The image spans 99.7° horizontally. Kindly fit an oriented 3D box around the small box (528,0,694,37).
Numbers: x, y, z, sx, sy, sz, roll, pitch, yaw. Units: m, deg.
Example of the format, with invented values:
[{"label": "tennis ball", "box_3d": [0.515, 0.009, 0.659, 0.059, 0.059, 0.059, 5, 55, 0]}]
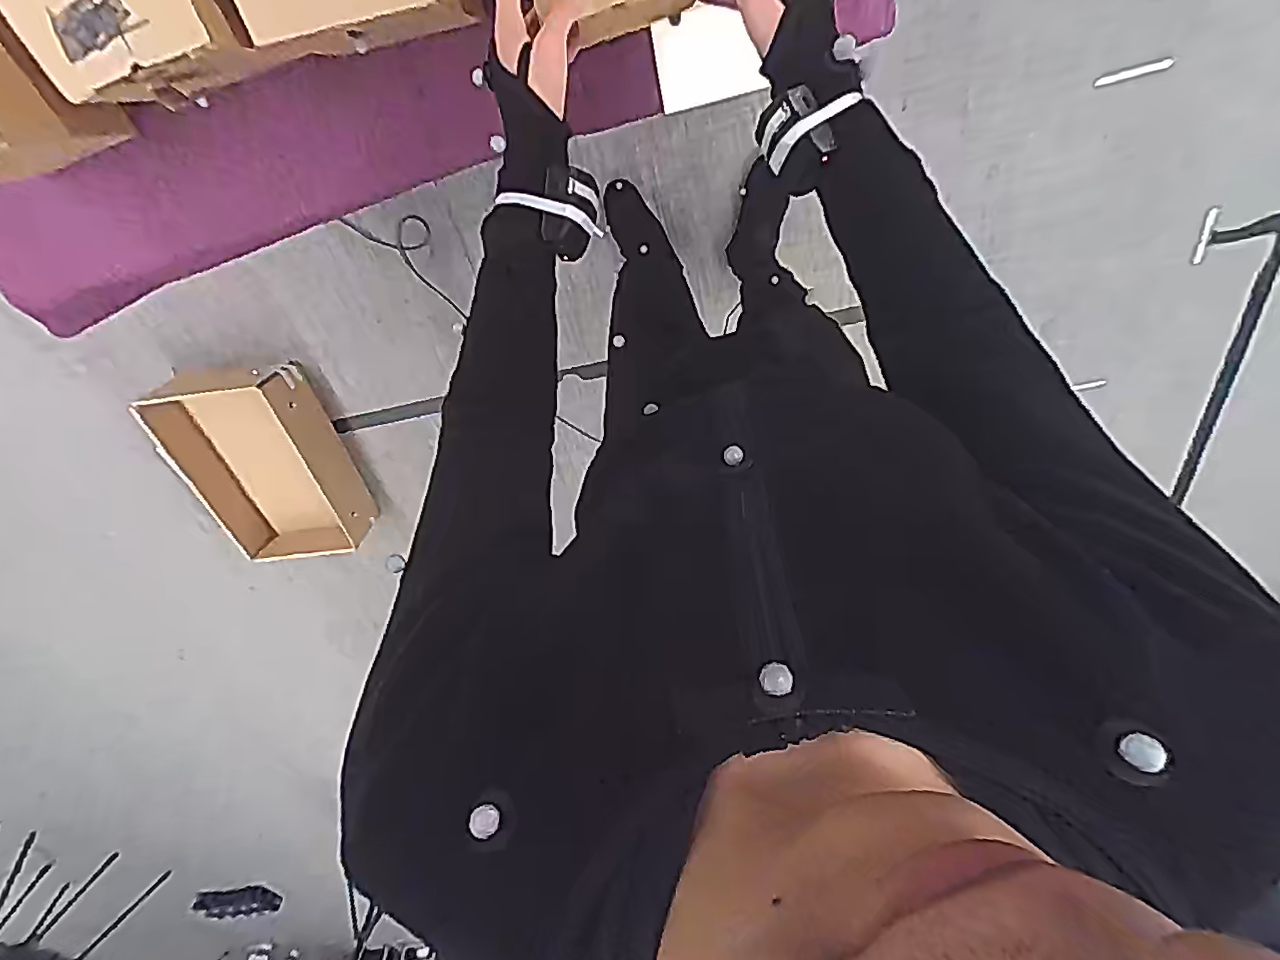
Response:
[{"label": "small box", "box_3d": [-0.028, -0.508, 0.460, 0.168, 0.176, 0.179, -12, 123, 8]}]
